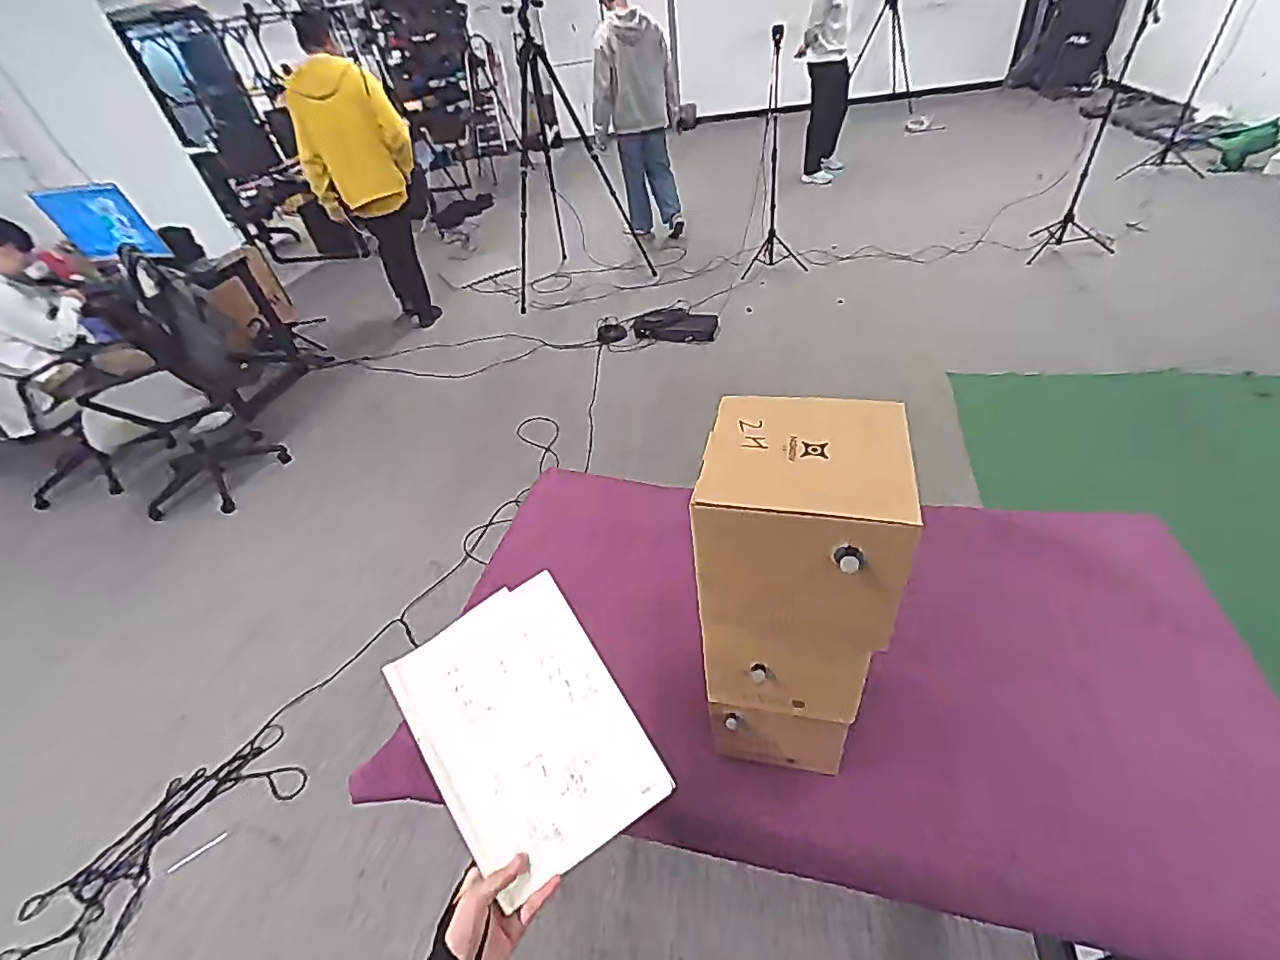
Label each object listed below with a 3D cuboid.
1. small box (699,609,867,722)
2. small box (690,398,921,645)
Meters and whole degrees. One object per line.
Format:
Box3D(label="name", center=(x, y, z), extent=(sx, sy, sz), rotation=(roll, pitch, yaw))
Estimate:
Box3D(label="small box", center=(0.169, 0.159, 0.641), extent=(0.168, 0.176, 0.179), rotation=(4, 41, 15))
Box3D(label="small box", center=(0.155, 0.038, 0.528), extent=(0.179, 0.176, 0.168), rotation=(5, 41, 17))
